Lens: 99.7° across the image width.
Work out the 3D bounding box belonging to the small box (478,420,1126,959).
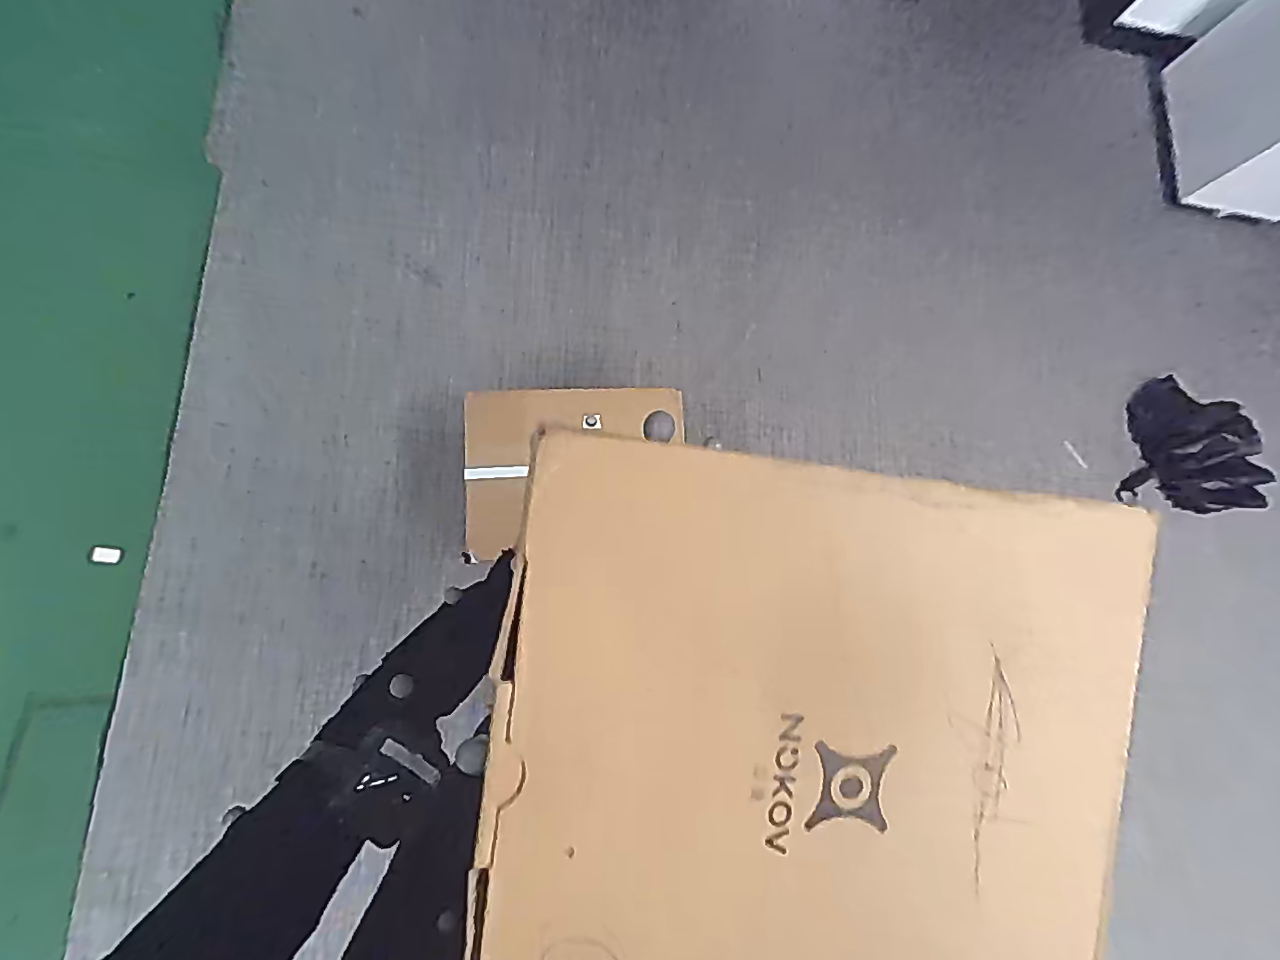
[{"bbox_3d":[0.038,0.072,0.227,0.179,0.176,0.168,6,92,-11],"label":"small box"}]
